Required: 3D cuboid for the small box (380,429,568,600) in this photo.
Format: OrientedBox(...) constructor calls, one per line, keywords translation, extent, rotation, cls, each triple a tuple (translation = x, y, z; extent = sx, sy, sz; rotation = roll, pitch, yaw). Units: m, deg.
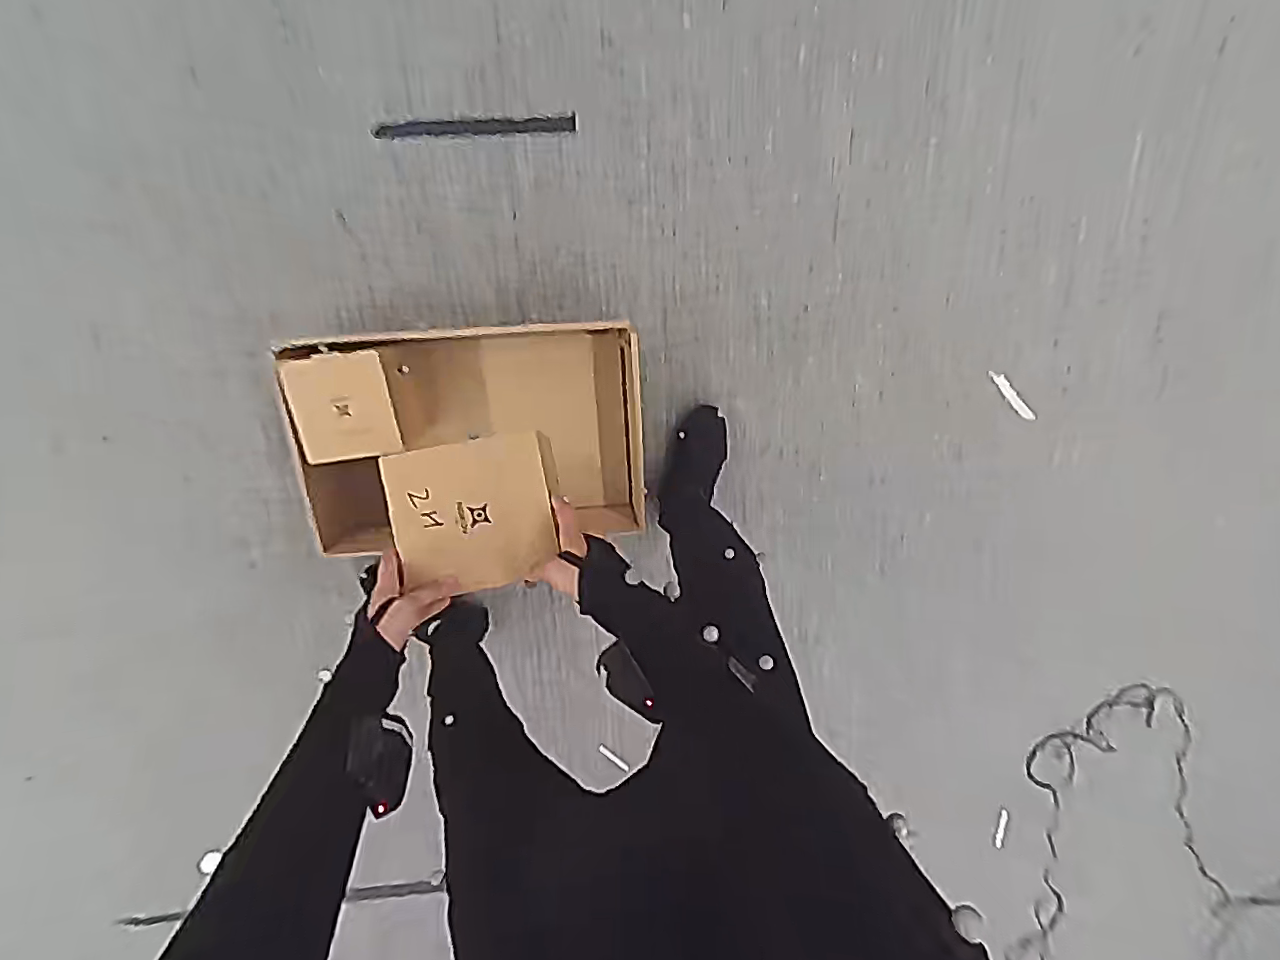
OrientedBox(translation=(-0.189, 0.035, 0.673), extent=(0.179, 0.176, 0.168), rotation=(-12, 91, -3), cls="small box")
